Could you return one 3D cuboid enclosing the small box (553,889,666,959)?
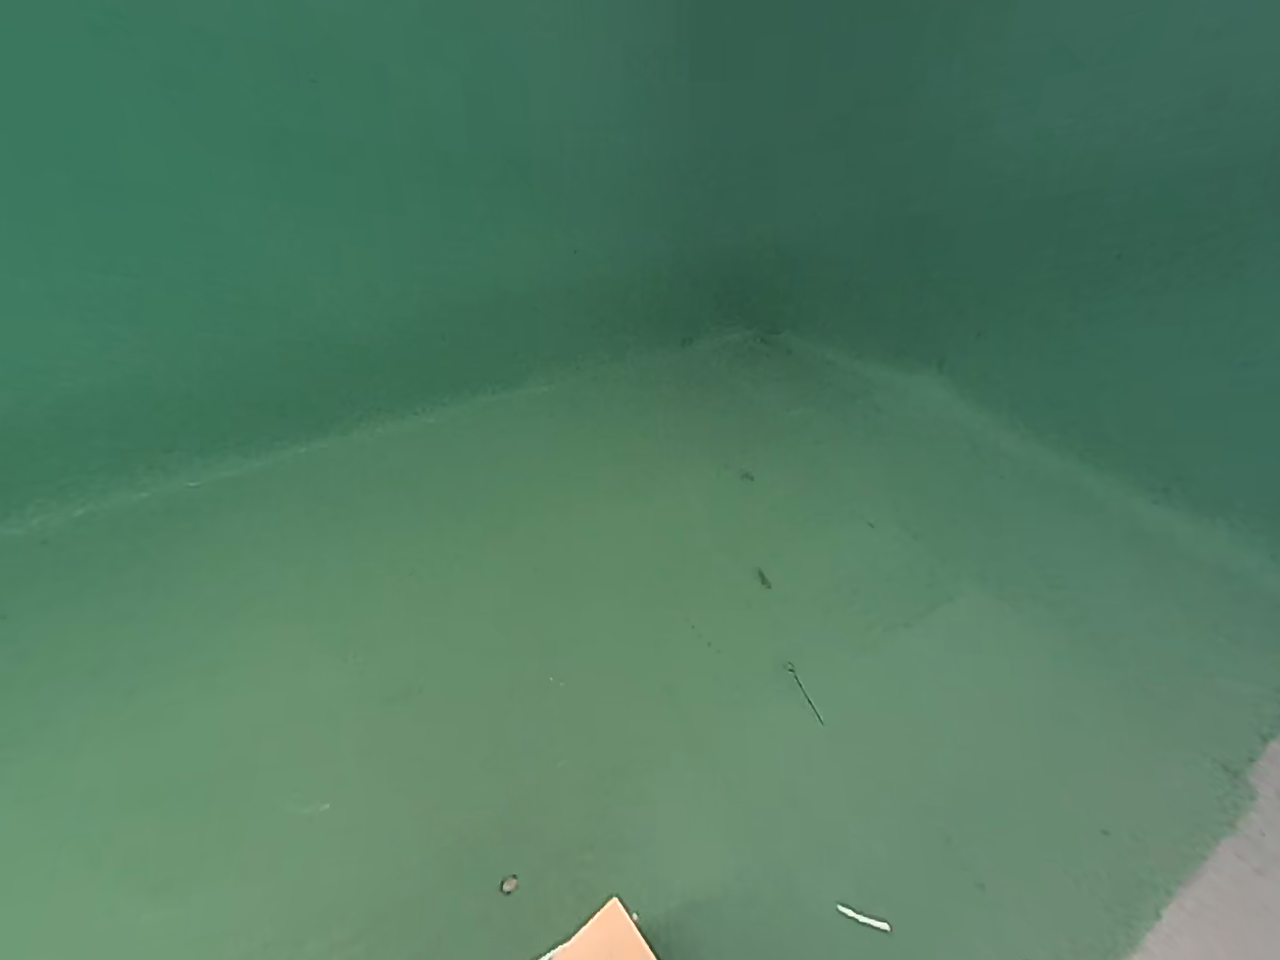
[{"bbox_3d":[-0.047,0.948,1.036,0.168,0.176,0.179,-29,48,-27],"label":"small box"}]
